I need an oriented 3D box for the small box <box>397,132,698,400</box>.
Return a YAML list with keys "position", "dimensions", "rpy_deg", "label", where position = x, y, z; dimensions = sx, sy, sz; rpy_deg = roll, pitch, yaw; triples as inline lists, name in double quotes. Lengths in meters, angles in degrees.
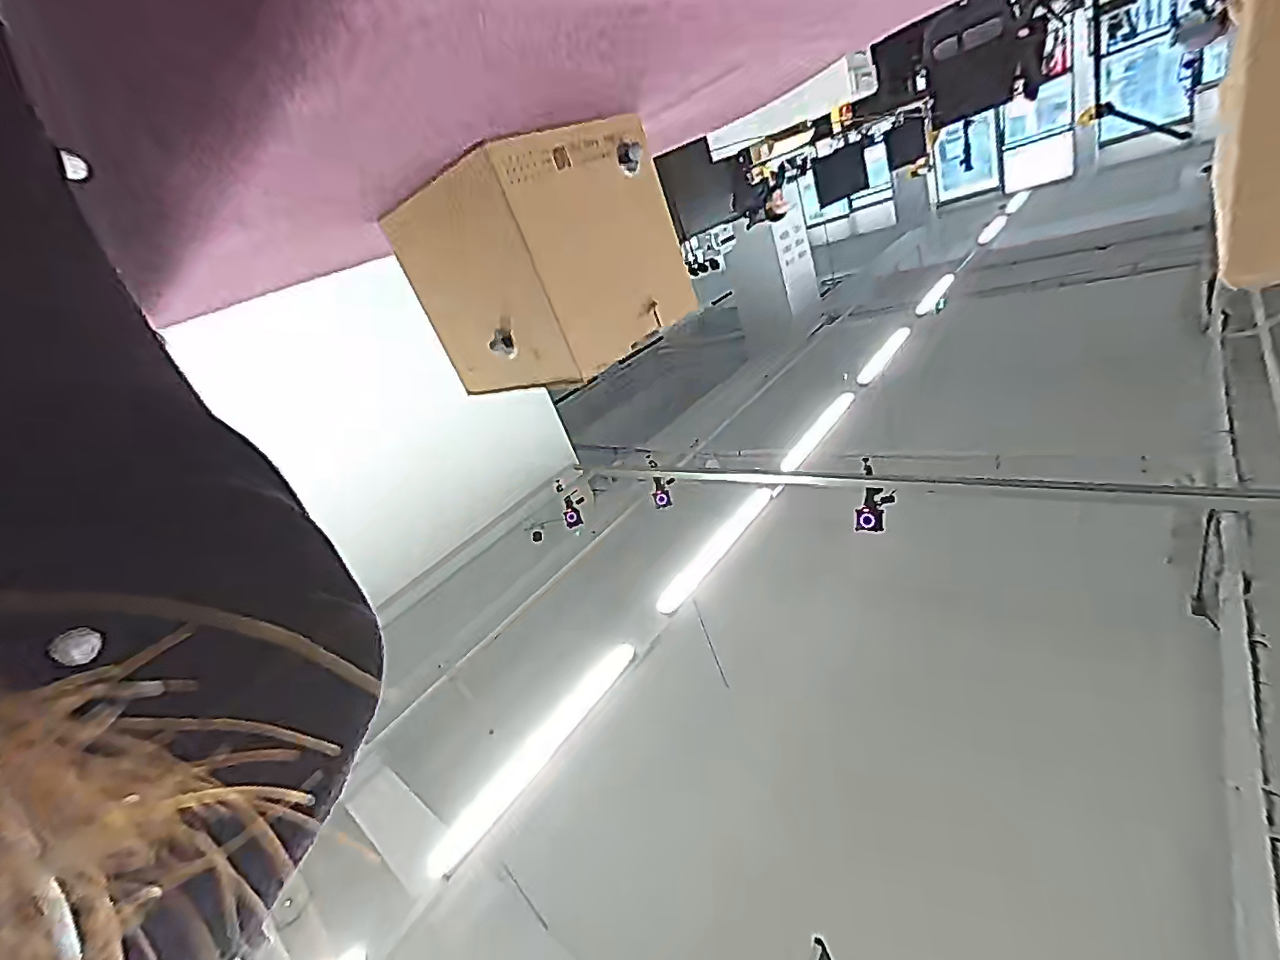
- position: [-0.082, -0.189, 0.484]
  dimensions: [0.179, 0.176, 0.168]
  rpy_deg: [3, -145, 44]
  label: "small box"
